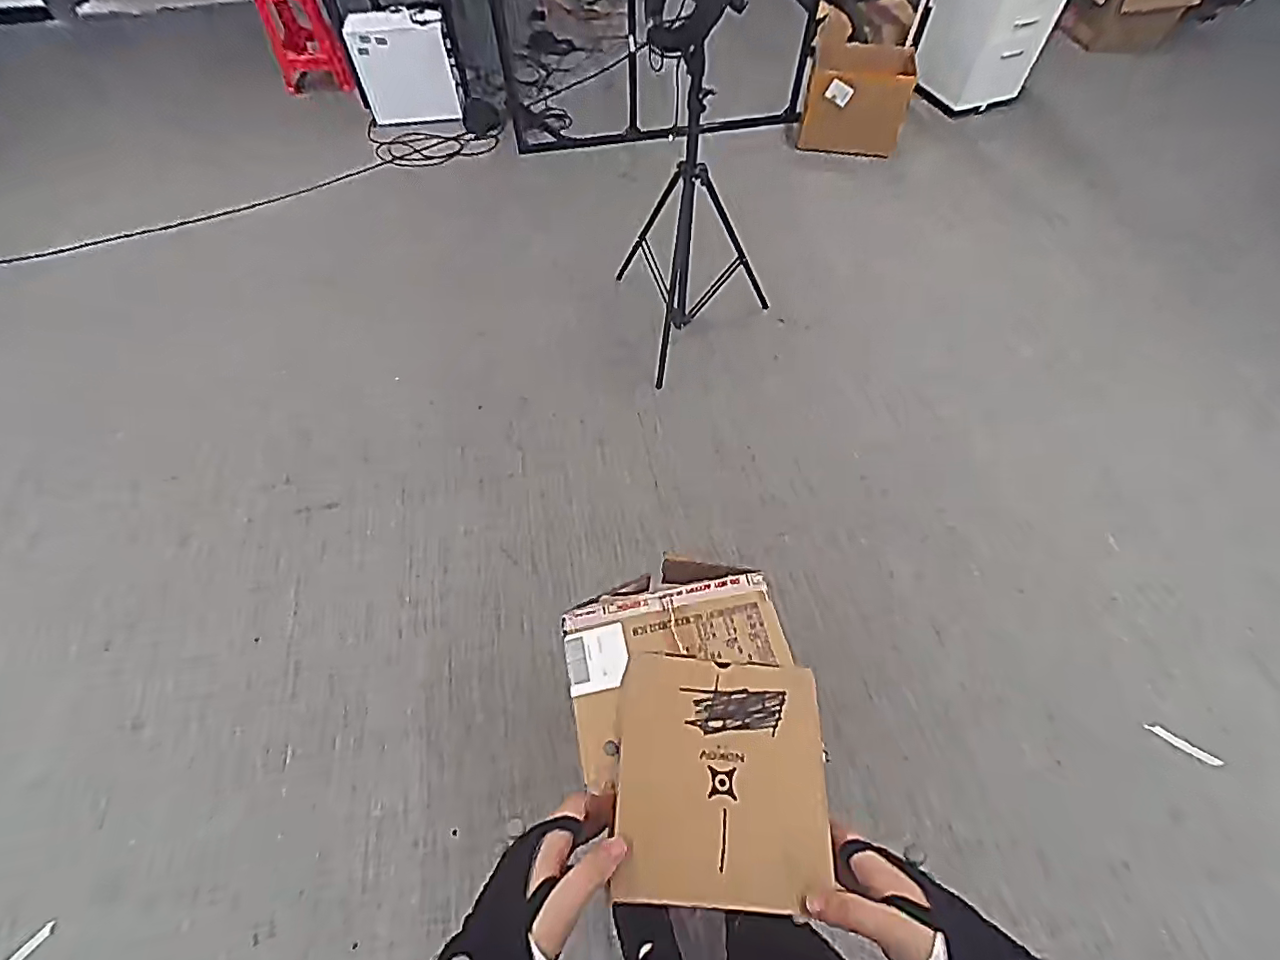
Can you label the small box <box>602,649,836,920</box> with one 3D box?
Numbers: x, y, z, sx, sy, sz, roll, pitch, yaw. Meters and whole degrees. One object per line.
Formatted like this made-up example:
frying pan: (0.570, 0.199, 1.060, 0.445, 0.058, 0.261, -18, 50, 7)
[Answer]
small box: (0.058, 0.272, 0.492, 0.168, 0.176, 0.179, 7, 57, -2)
